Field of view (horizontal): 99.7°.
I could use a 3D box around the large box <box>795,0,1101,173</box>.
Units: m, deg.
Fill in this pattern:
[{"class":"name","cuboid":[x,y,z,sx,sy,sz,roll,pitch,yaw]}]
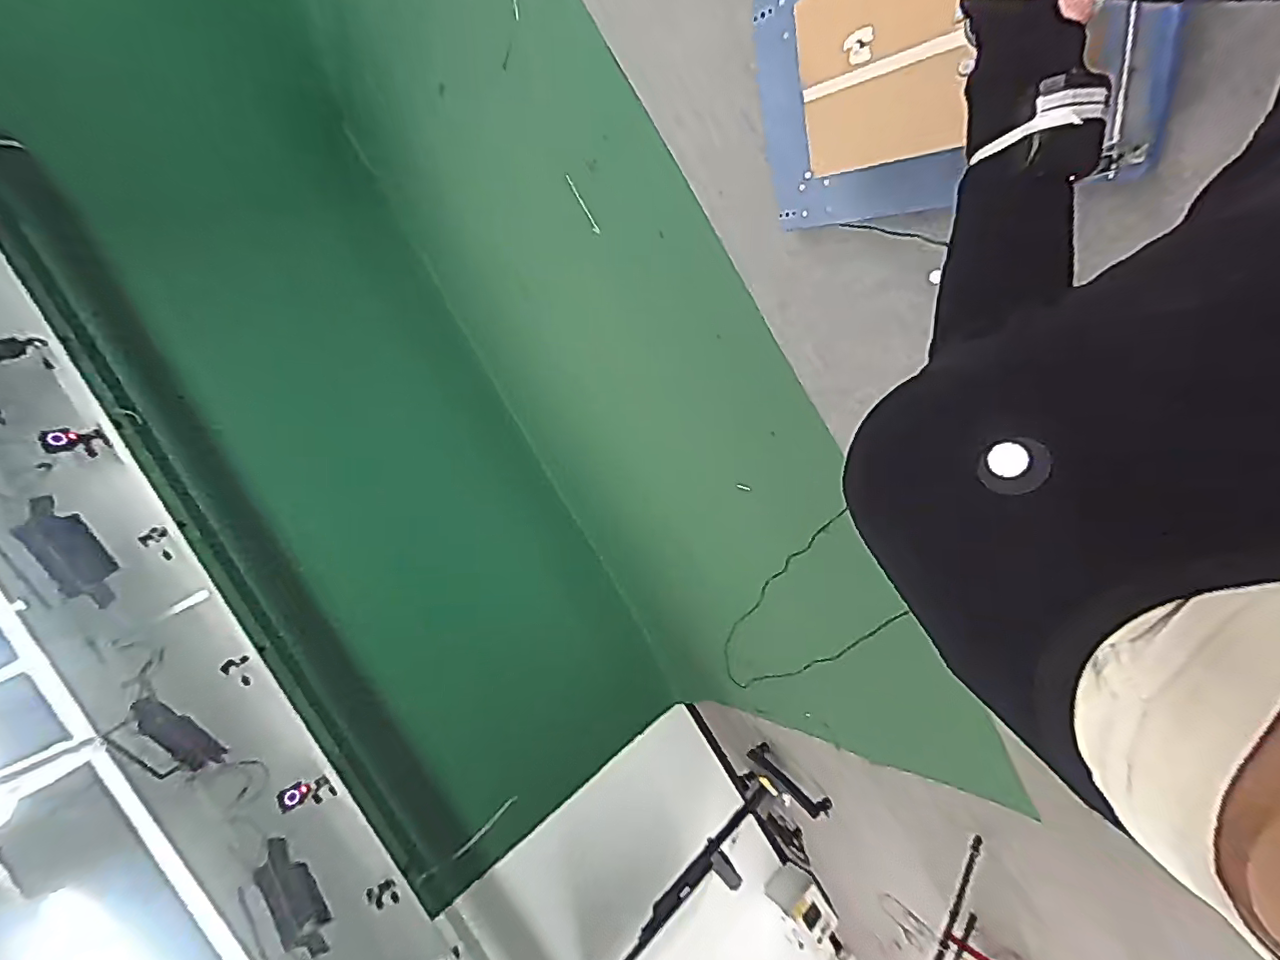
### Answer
[{"class":"large box","cuboid":[0.569,-0.824,1.019,0.408,0.320,0.320,22,137,51]}]
